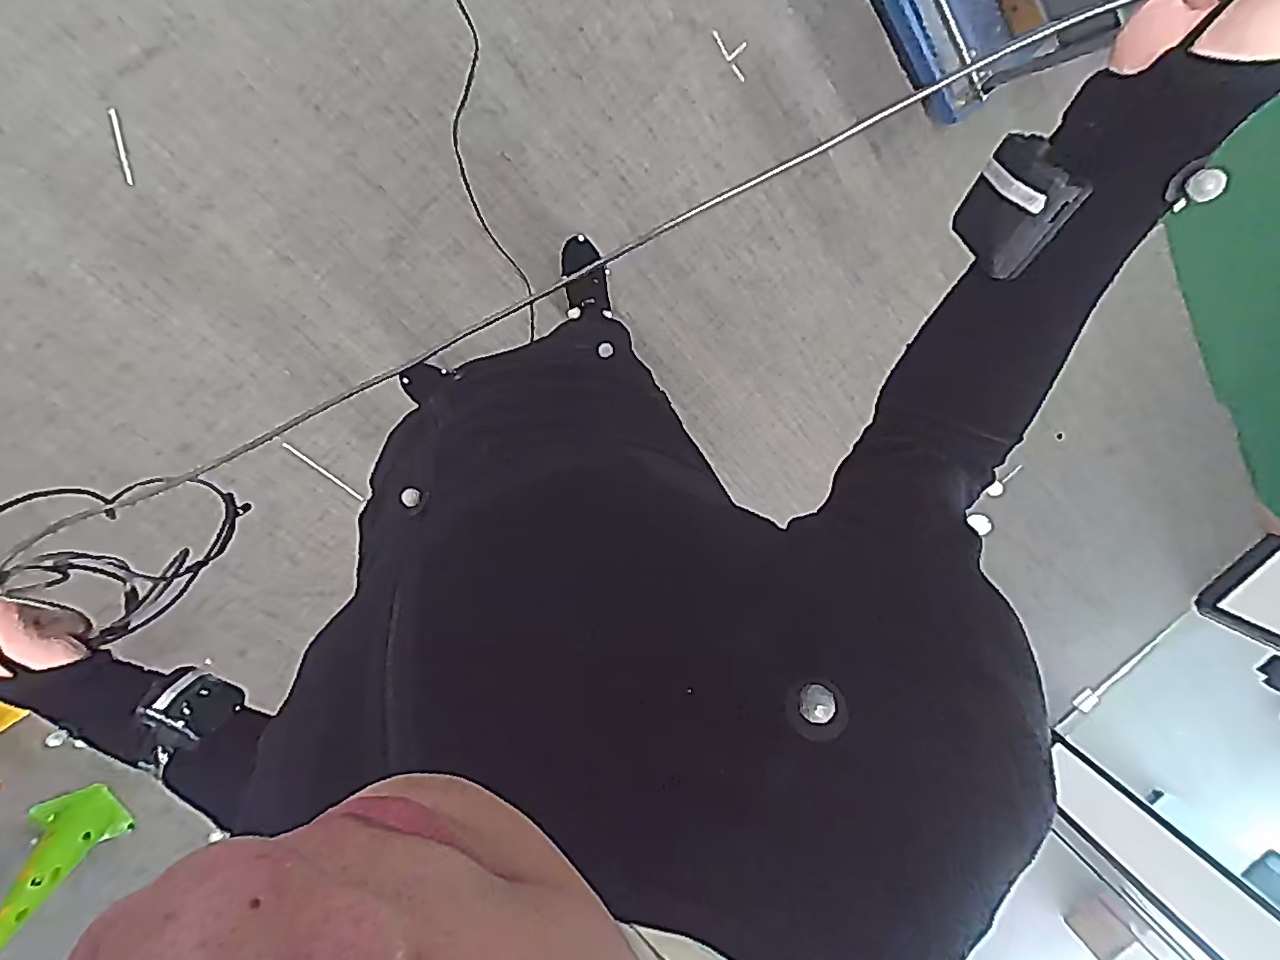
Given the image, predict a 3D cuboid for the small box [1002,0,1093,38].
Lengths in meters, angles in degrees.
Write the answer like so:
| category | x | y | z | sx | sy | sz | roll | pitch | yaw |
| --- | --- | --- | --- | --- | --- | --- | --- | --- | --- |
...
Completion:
| category | x | y | z | sx | sy | sz | roll | pitch | yaw |
| --- | --- | --- | --- | --- | --- | --- | --- | --- | --- |
| small box | 0.973 | -1.180 | 1.239 | 0.179 | 0.176 | 0.168 | -42 | 113 | 4 |
